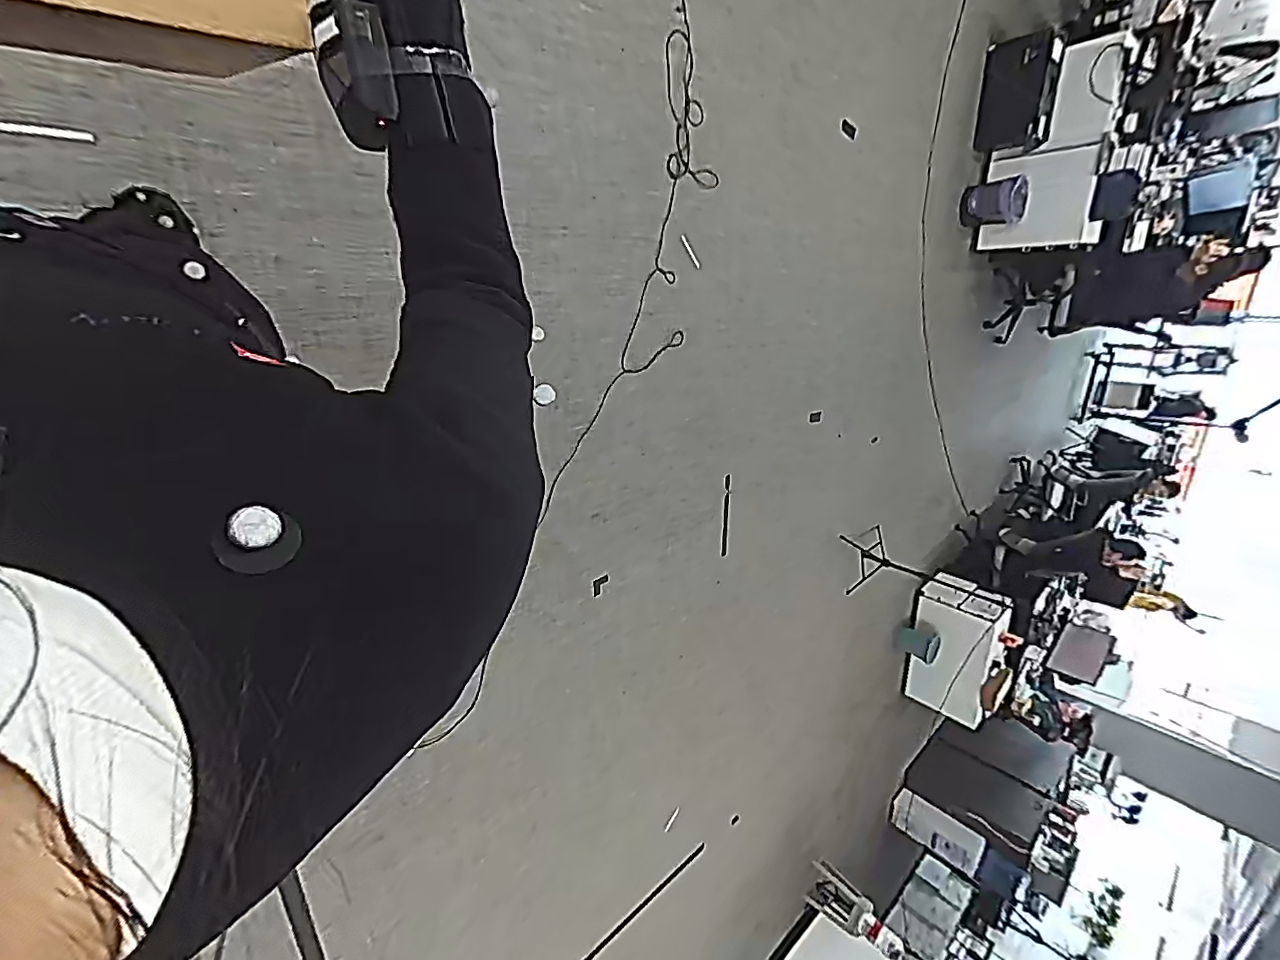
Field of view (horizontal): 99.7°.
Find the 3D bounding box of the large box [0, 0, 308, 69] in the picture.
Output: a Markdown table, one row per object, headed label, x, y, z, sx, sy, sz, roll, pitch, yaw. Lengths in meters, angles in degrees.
| label | x | y | z | sx | sy | sz | roll | pitch | yaw |
| --- | --- | --- | --- | --- | --- | --- | --- | --- | --- |
| large box | -0.437 | -0.401 | 0.228 | 0.408 | 0.320 | 0.320 | -21 | 130 | -37 |
